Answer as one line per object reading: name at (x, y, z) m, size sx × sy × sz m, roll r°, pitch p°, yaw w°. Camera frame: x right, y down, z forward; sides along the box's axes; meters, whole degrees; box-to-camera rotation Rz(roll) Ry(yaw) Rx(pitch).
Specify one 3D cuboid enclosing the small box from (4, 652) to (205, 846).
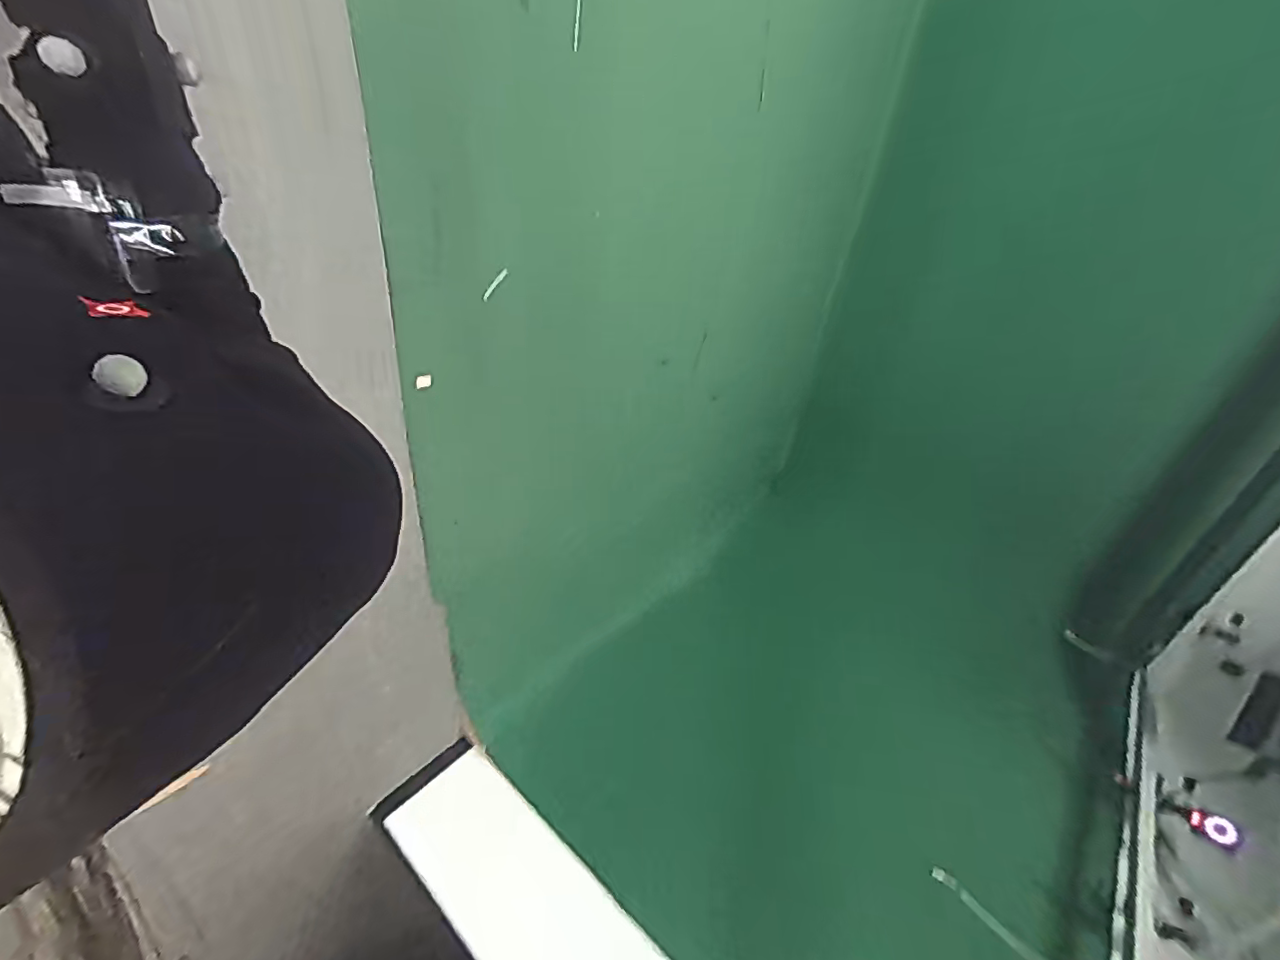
small box at (-0.847, 0.415, 0.859) m, size 0.179 × 0.176 × 0.168 m, roll -30°, pitch 138°, yaw -43°
